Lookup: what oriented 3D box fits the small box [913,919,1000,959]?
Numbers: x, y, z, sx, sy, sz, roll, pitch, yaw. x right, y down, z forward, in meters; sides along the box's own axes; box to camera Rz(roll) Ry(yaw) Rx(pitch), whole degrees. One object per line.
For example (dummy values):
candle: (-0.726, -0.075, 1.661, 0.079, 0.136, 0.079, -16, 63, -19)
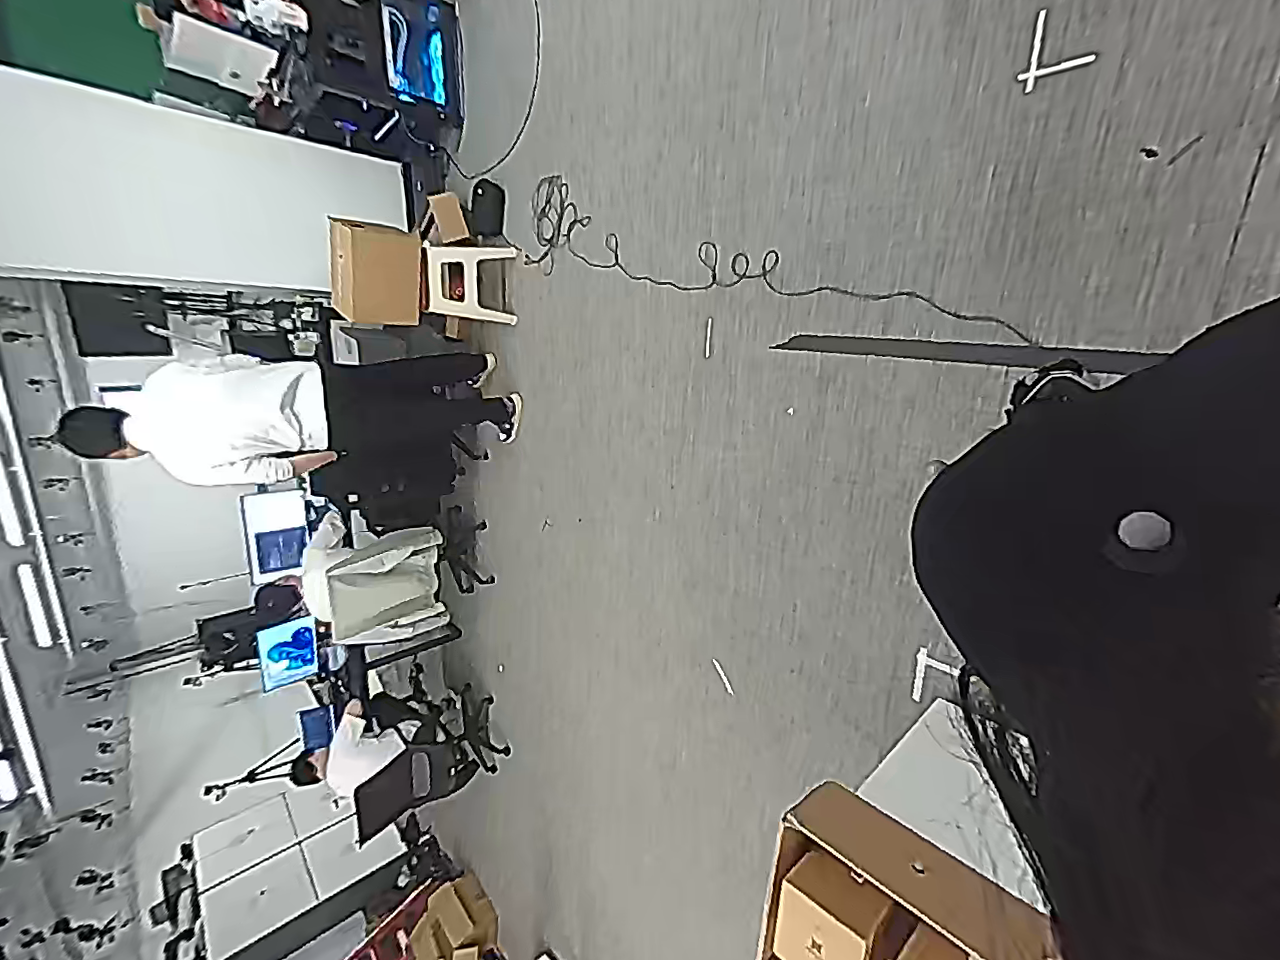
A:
small box: (0.537, 0.904, 0.897, 0.168, 0.176, 0.179, 18, 106, 45)
